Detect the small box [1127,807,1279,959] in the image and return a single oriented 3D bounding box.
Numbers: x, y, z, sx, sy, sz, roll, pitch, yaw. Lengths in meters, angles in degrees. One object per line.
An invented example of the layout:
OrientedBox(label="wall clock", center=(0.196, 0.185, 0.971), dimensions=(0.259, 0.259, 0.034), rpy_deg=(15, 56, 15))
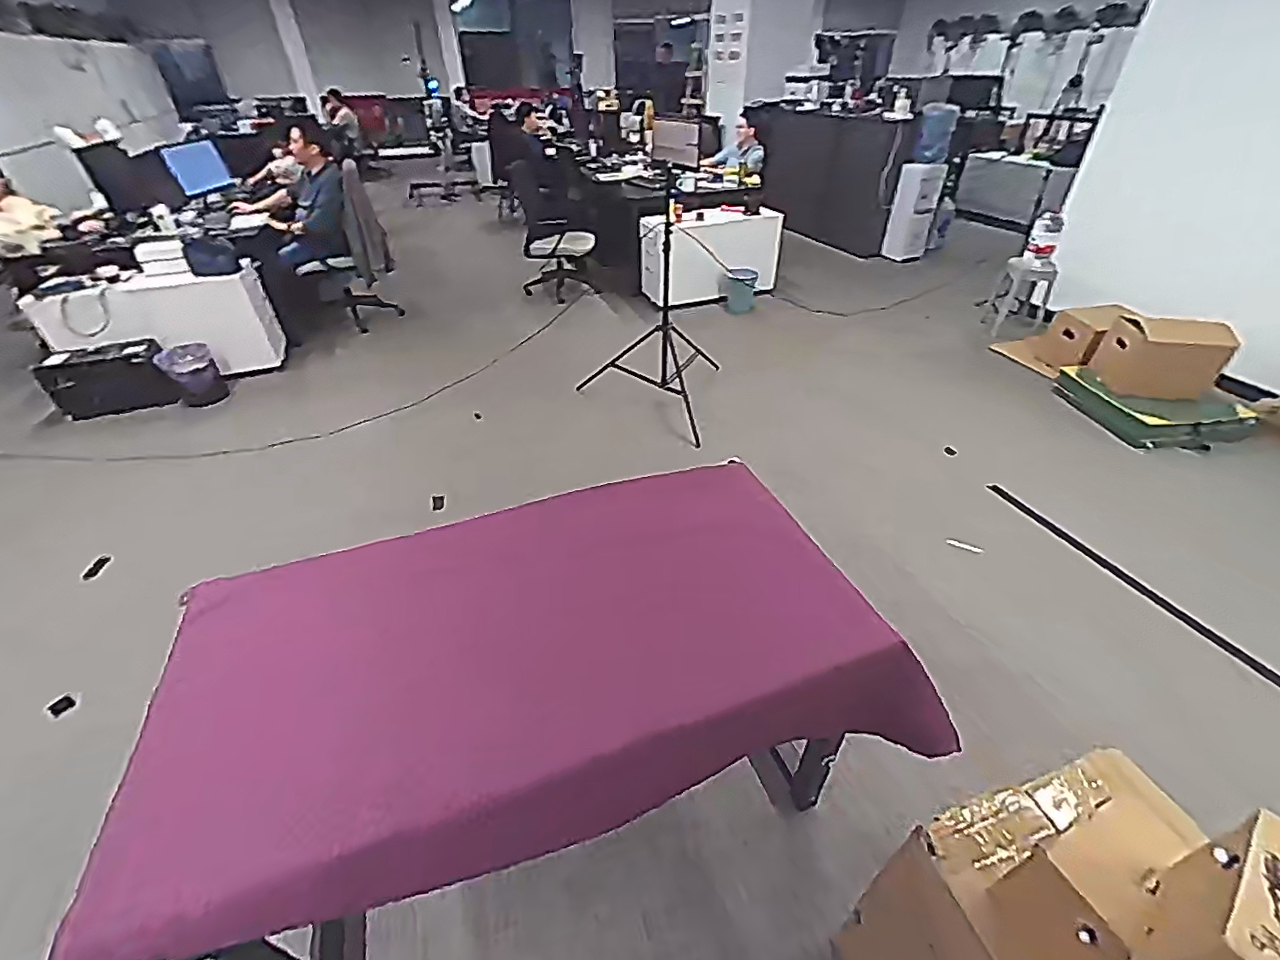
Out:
OrientedBox(label="small box", center=(0.610, 0.456, 0.492), dimensions=(0.168, 0.176, 0.179), rpy_deg=(-28, 44, -30))

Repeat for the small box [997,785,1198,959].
OrientedBox(label="small box", center=(0.594, 0.528, 0.668), dimensions=(0.168, 0.176, 0.179), rpy_deg=(-17, 42, -17))
